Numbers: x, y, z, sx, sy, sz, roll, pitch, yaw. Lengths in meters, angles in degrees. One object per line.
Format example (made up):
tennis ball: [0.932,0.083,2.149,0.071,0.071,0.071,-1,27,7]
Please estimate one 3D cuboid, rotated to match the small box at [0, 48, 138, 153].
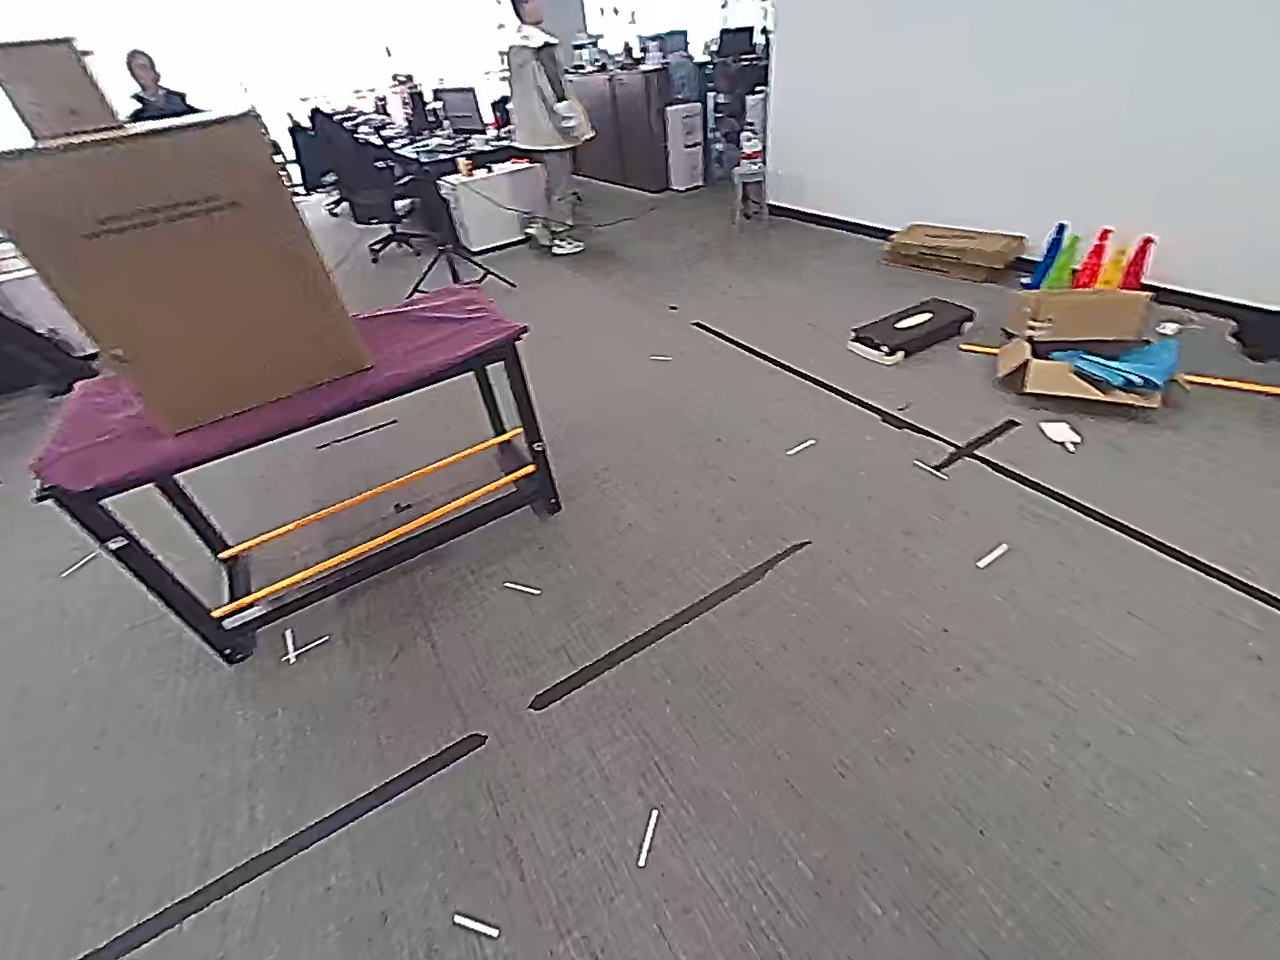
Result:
small box: [-1.276,-0.847,1.204,0.179,0.176,0.168,-28,43,-25]
